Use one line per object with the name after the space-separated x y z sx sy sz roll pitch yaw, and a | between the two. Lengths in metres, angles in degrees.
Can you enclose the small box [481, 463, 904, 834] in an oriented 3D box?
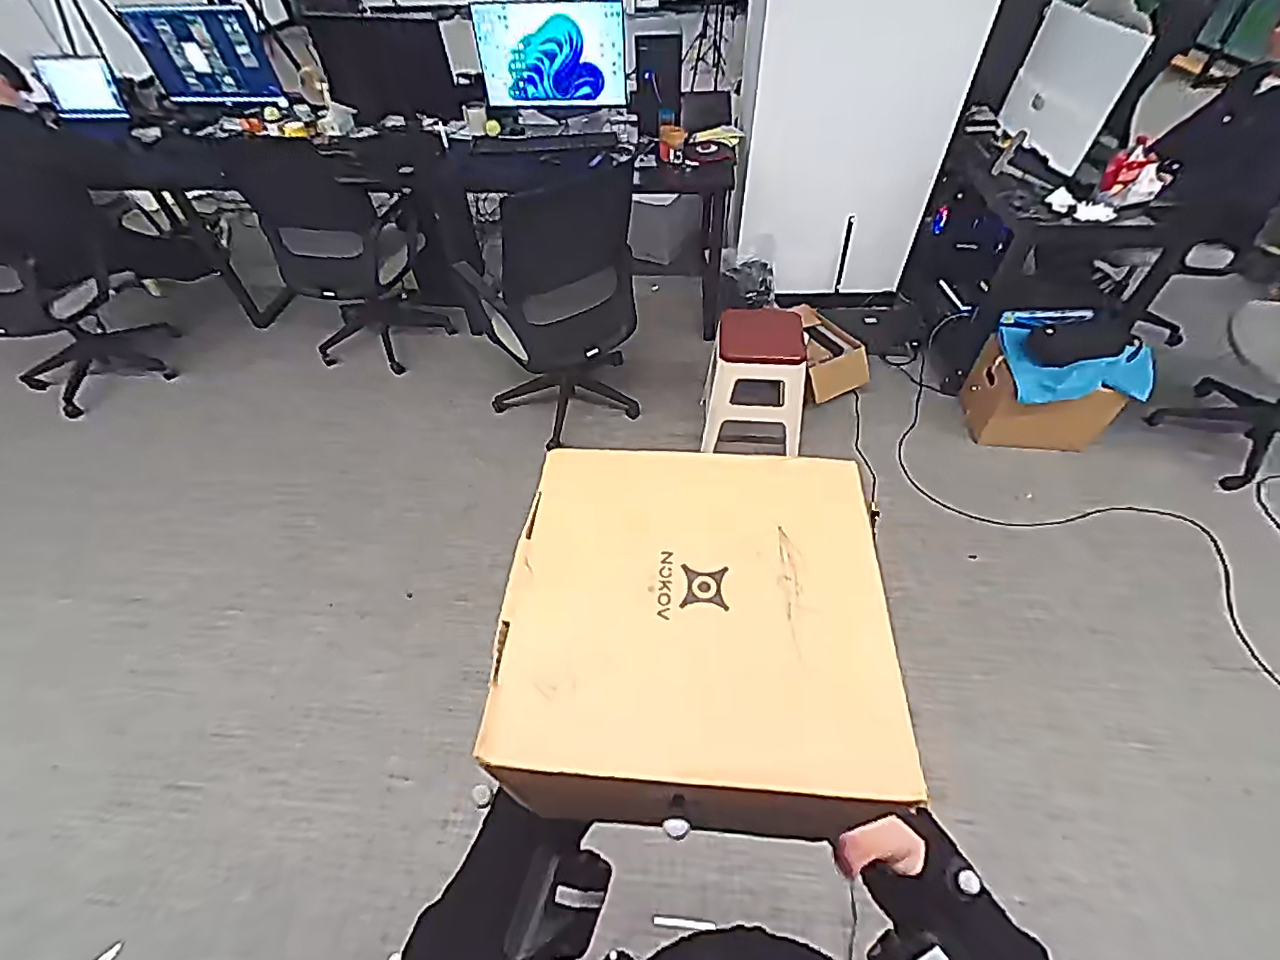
0.028 0.107 0.330 0.179 0.176 0.168 3 53 4 | small box
